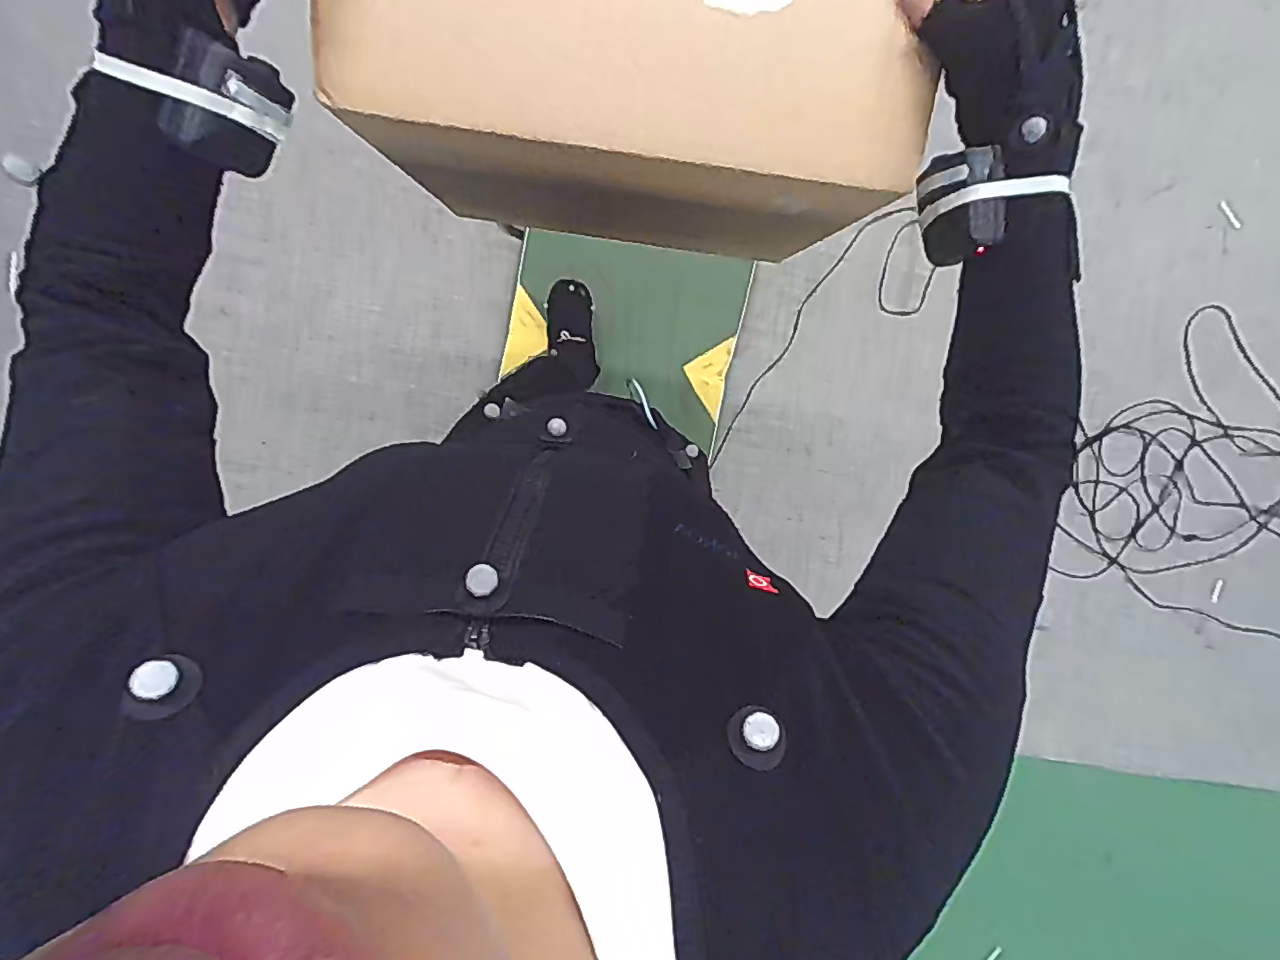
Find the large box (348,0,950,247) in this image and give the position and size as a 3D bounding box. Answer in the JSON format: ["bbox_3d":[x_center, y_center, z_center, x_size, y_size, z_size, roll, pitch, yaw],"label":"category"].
[{"bbox_3d":[0.009,-0.419,0.485,0.408,0.320,0.320,6,104,-5],"label":"large box"}]
